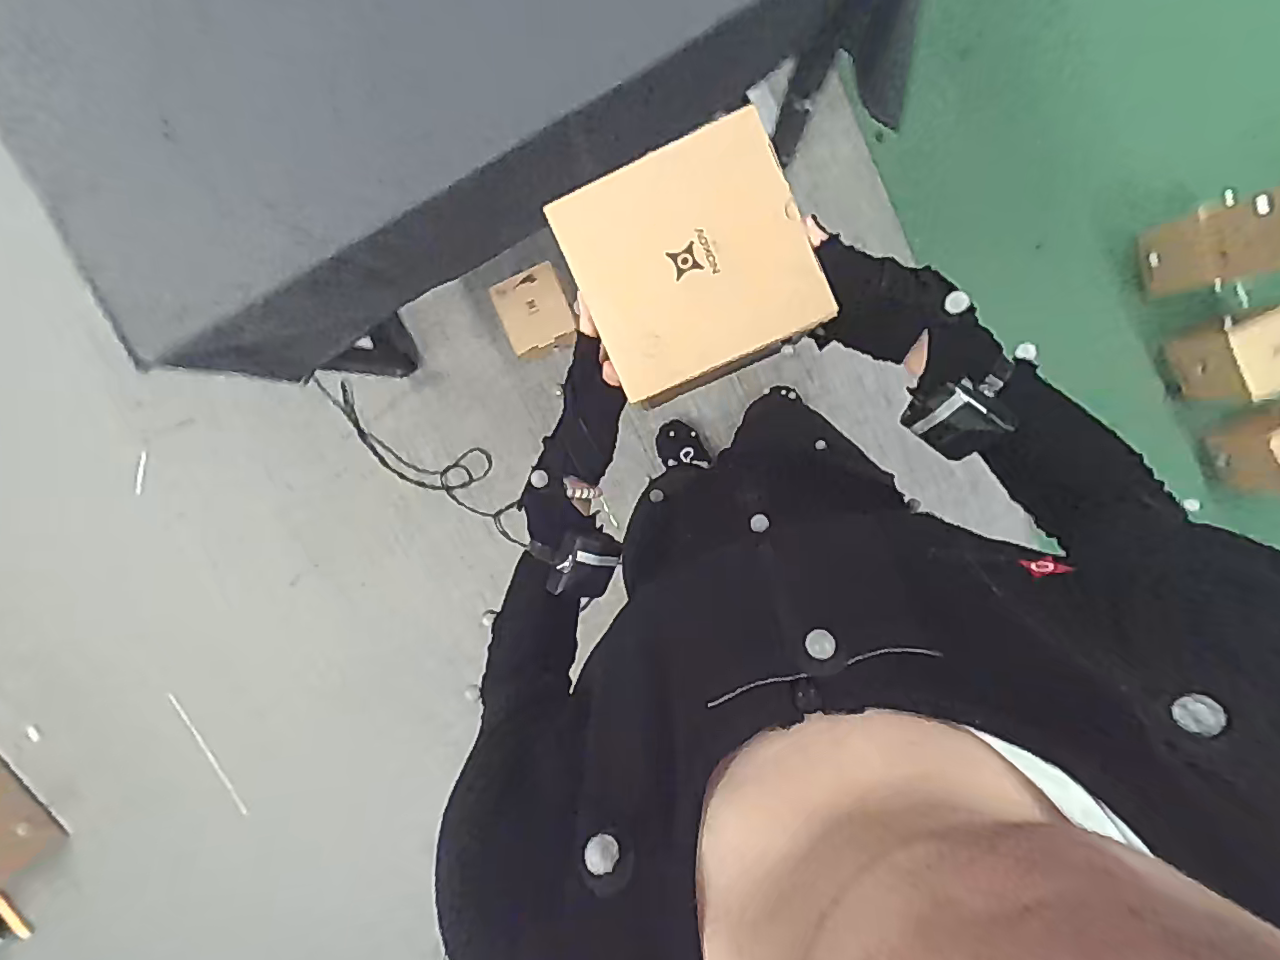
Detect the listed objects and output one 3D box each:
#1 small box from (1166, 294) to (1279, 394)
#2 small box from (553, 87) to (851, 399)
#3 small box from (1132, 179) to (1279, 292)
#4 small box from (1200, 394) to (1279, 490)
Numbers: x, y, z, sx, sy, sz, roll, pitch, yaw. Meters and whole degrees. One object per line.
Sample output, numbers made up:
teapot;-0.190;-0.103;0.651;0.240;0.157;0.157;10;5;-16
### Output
small box;1.390;-0.310;1.256;0.179;0.176;0.168;-28;96;7
small box;0.049;-0.179;0.473;0.179;0.176;0.168;-23;94;4
small box;1.290;-0.546;1.232;0.179;0.176;0.168;-15;96;7
small box;1.513;-0.095;1.278;0.179;0.176;0.168;-31;94;7
